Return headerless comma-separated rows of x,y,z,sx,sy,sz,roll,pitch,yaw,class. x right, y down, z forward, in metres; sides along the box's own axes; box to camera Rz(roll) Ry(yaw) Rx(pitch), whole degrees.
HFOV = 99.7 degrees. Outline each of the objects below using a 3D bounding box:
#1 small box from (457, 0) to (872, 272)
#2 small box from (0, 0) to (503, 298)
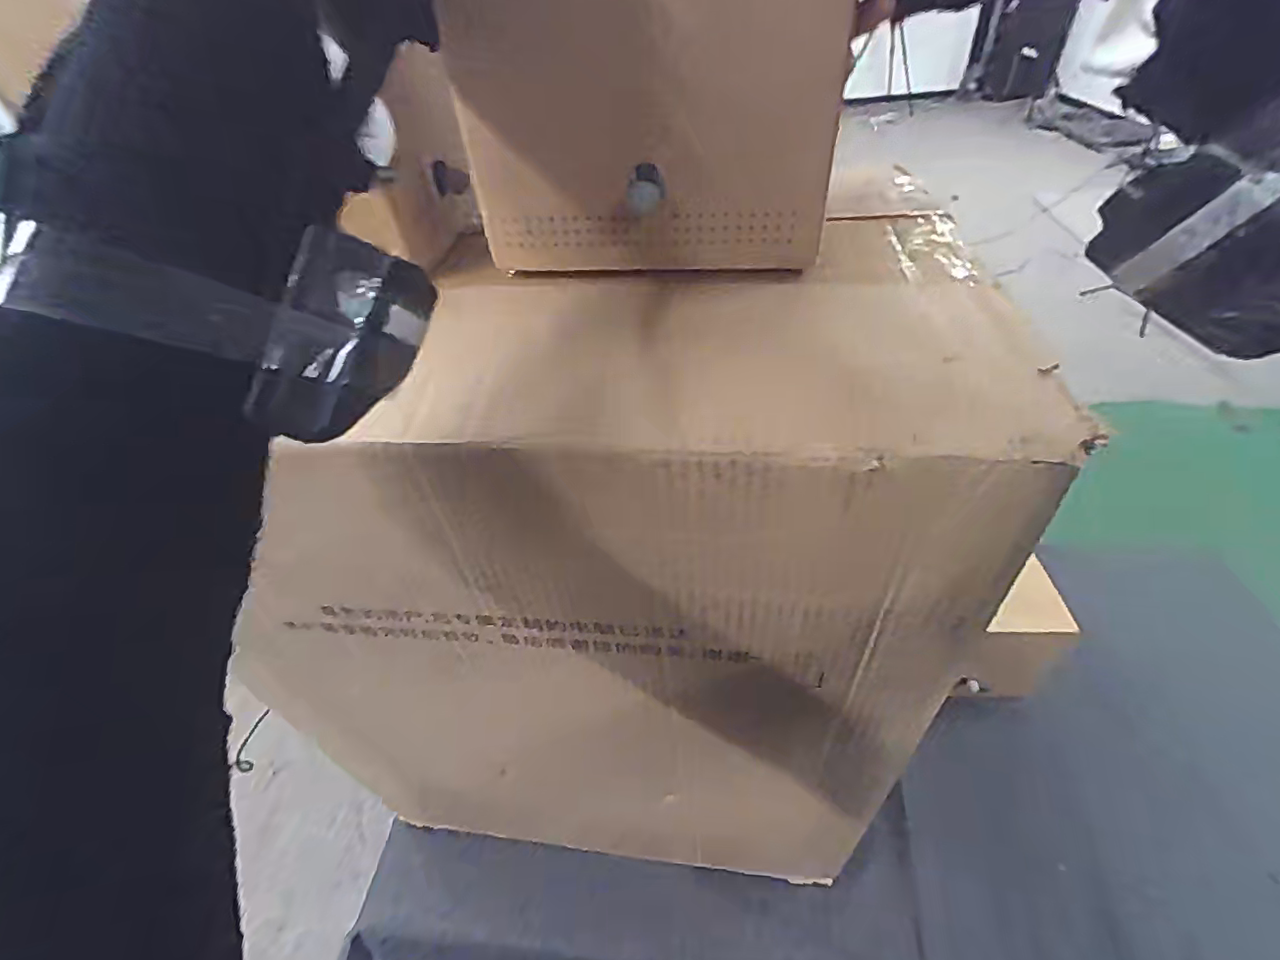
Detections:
0.020,-0.226,0.298,0.179,0.176,0.168,3,43,8,small box
-0.204,-0.224,0.330,0.179,0.176,0.168,-1,46,6,small box
